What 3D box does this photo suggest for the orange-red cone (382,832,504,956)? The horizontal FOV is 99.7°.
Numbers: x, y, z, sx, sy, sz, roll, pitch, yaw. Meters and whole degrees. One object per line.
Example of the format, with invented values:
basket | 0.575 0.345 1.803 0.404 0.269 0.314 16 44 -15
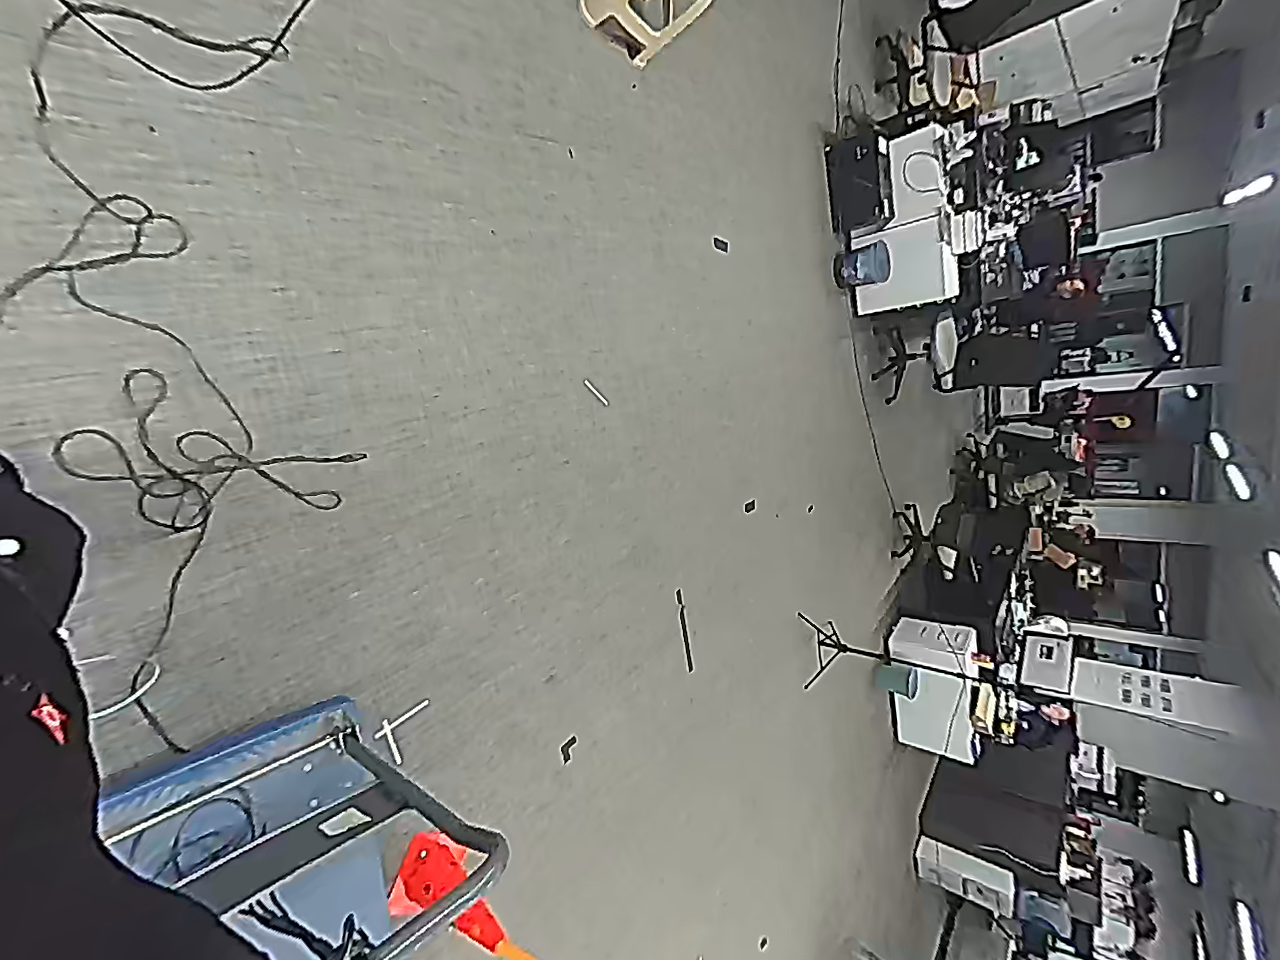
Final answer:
orange-red cone | -0.464 1.094 1.384 0.198 0.360 0.199 39 64 -41
